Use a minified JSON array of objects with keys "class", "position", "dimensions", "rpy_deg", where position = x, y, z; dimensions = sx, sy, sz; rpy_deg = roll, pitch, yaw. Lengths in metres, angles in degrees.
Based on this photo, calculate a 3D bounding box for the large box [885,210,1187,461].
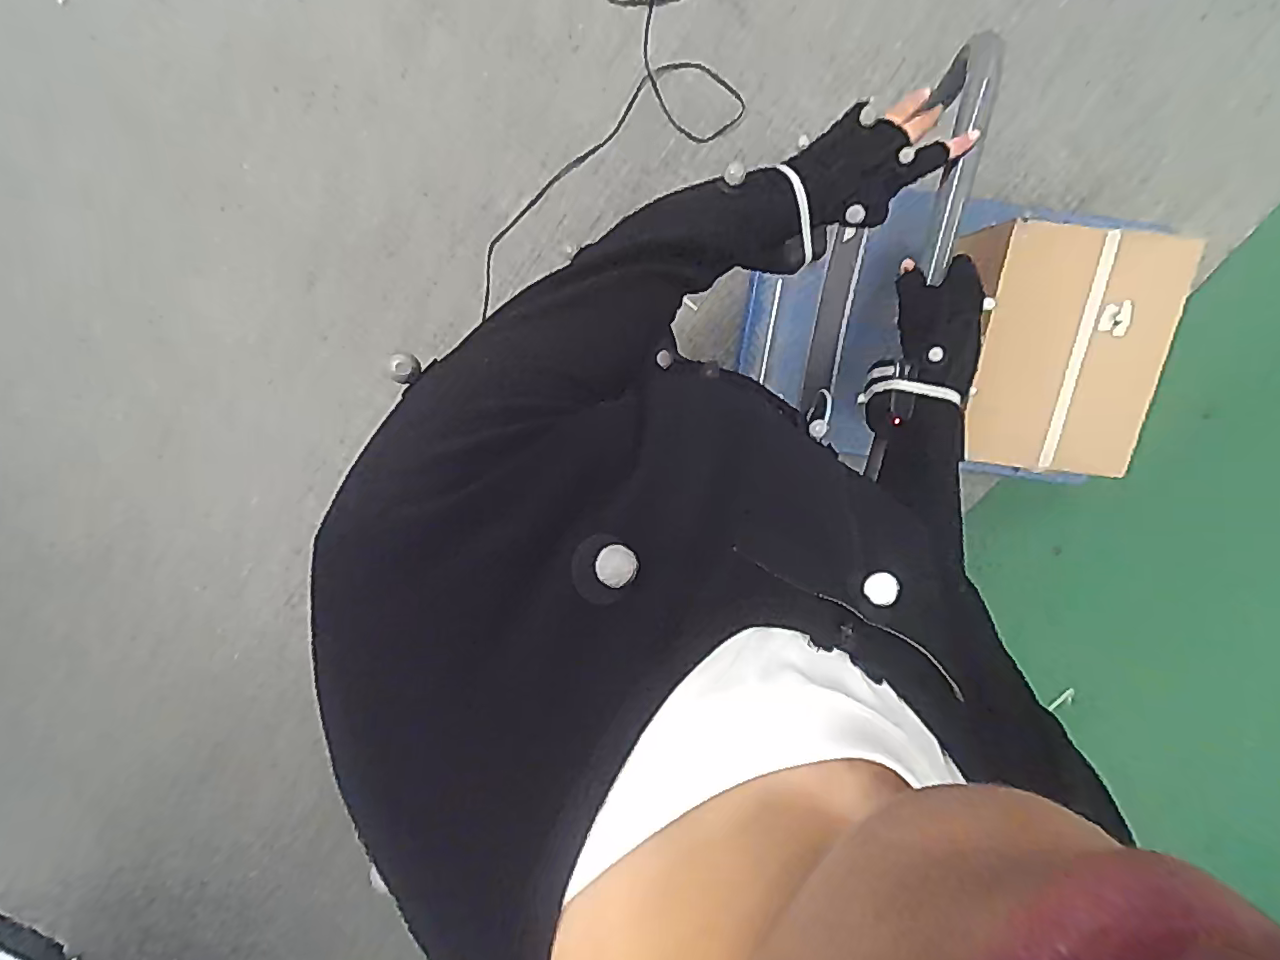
[{"class":"large box","position":[0.733,-0.272,1.078],"dimensions":[0.320,0.320,0.408],"rpy_deg":[6,104,-1]}]
